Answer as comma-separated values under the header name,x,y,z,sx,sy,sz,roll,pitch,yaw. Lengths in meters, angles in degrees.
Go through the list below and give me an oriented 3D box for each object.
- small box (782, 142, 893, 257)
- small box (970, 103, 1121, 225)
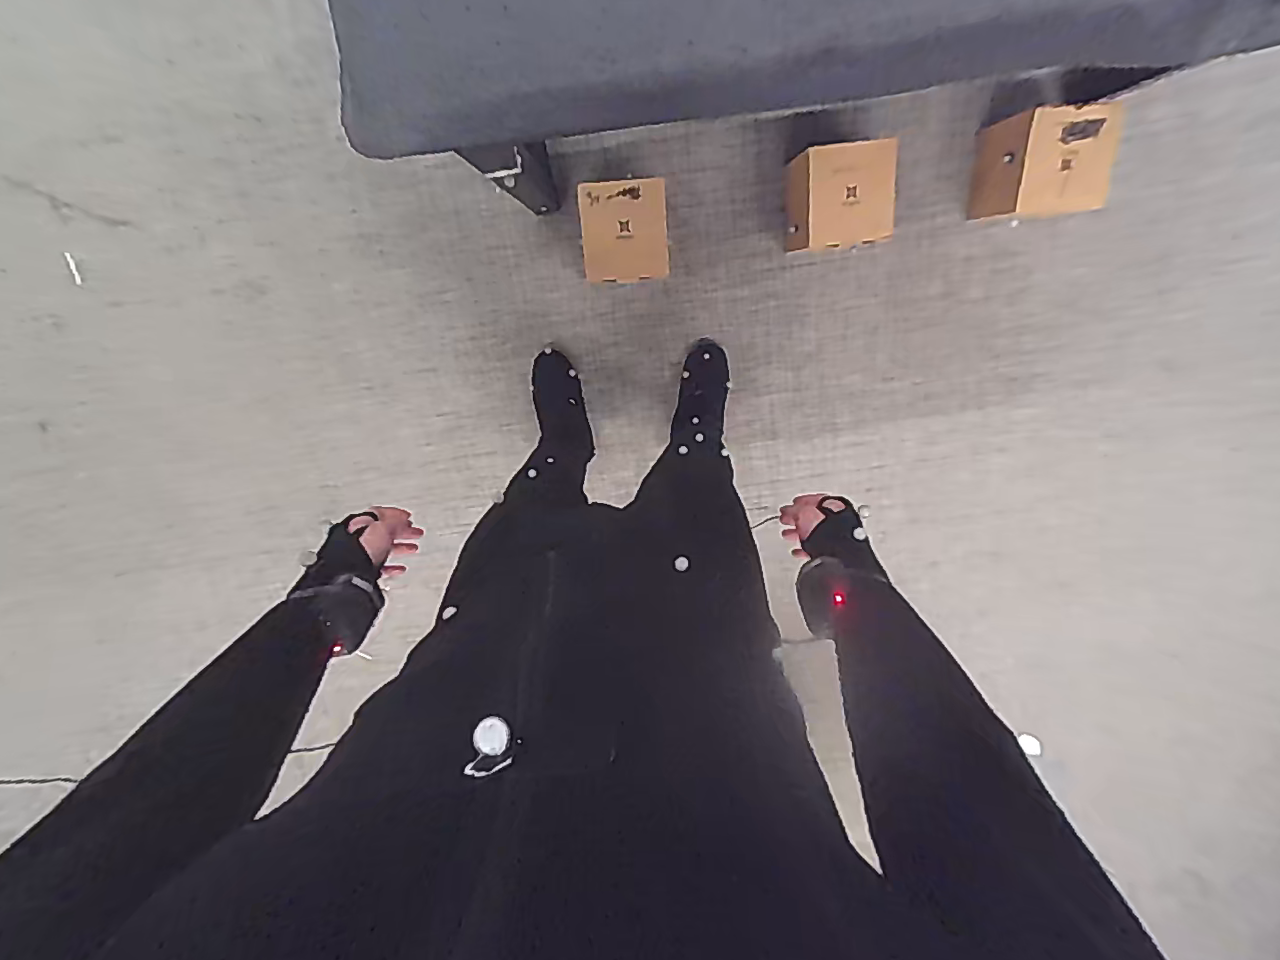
name,x,y,z,sx,sy,sz,roll,pitch,yaw
small box,0.394,-0.558,1.100,0.168,0.176,0.179,-7,107,1
small box,0.791,-0.619,1.077,0.168,0.176,0.179,-4,110,1
